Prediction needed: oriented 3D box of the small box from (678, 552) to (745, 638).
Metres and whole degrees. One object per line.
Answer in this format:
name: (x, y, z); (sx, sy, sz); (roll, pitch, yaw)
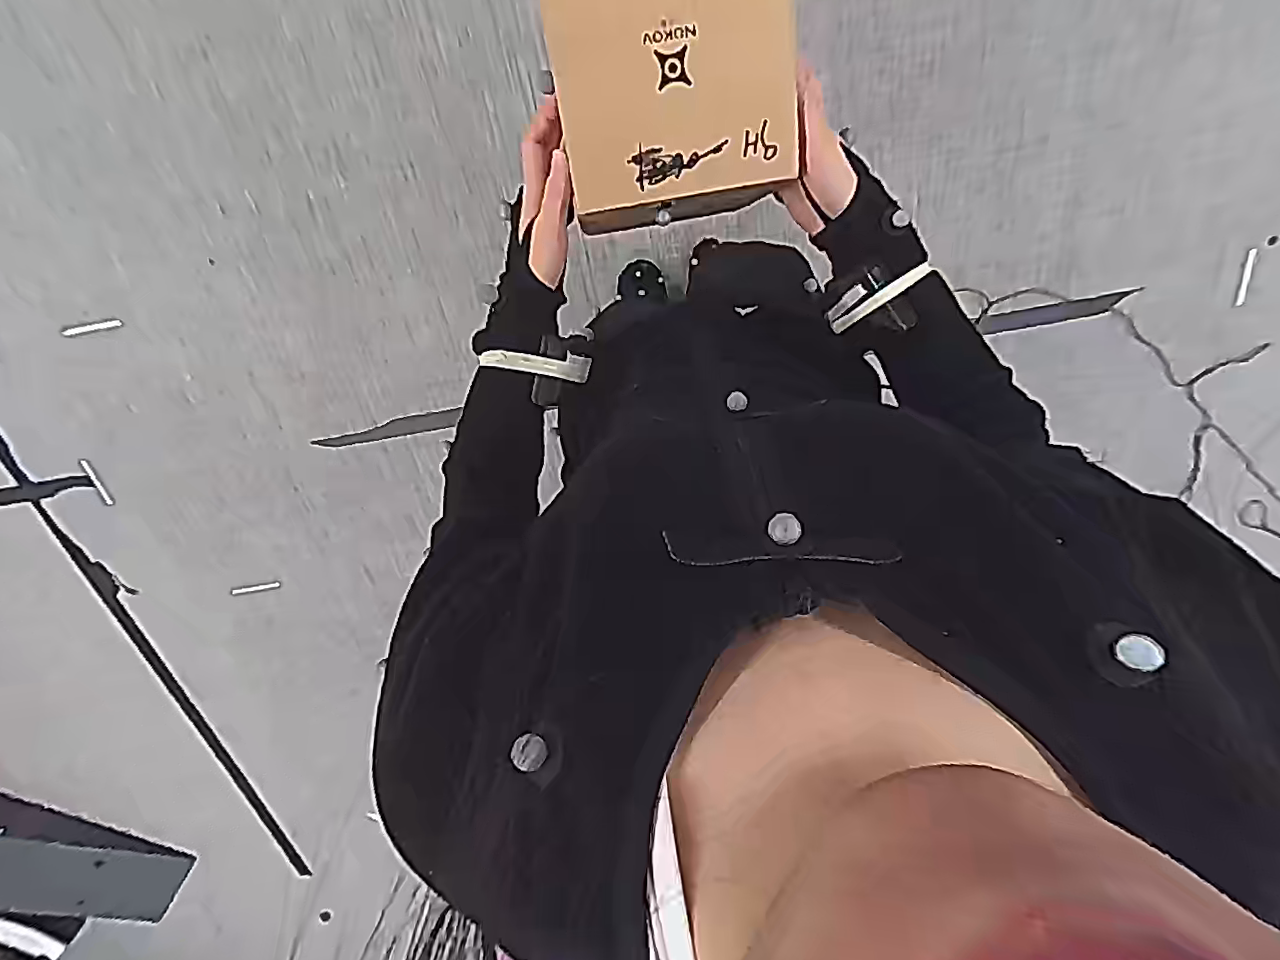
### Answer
small box: (0.213, 0.344, 1.627); (0.168, 0.176, 0.179); (-11, 112, 3)

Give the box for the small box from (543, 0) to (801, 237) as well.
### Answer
small box: (0.017, -0.309, 0.436); (0.168, 0.176, 0.179); (-10, 109, -1)

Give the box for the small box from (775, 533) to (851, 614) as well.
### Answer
small box: (0.510, 0.272, 1.608); (0.179, 0.176, 0.168); (-8, 113, 3)

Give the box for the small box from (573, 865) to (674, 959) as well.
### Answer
small box: (-0.027, 0.900, 1.065); (0.179, 0.176, 0.168); (-9, 114, 1)
